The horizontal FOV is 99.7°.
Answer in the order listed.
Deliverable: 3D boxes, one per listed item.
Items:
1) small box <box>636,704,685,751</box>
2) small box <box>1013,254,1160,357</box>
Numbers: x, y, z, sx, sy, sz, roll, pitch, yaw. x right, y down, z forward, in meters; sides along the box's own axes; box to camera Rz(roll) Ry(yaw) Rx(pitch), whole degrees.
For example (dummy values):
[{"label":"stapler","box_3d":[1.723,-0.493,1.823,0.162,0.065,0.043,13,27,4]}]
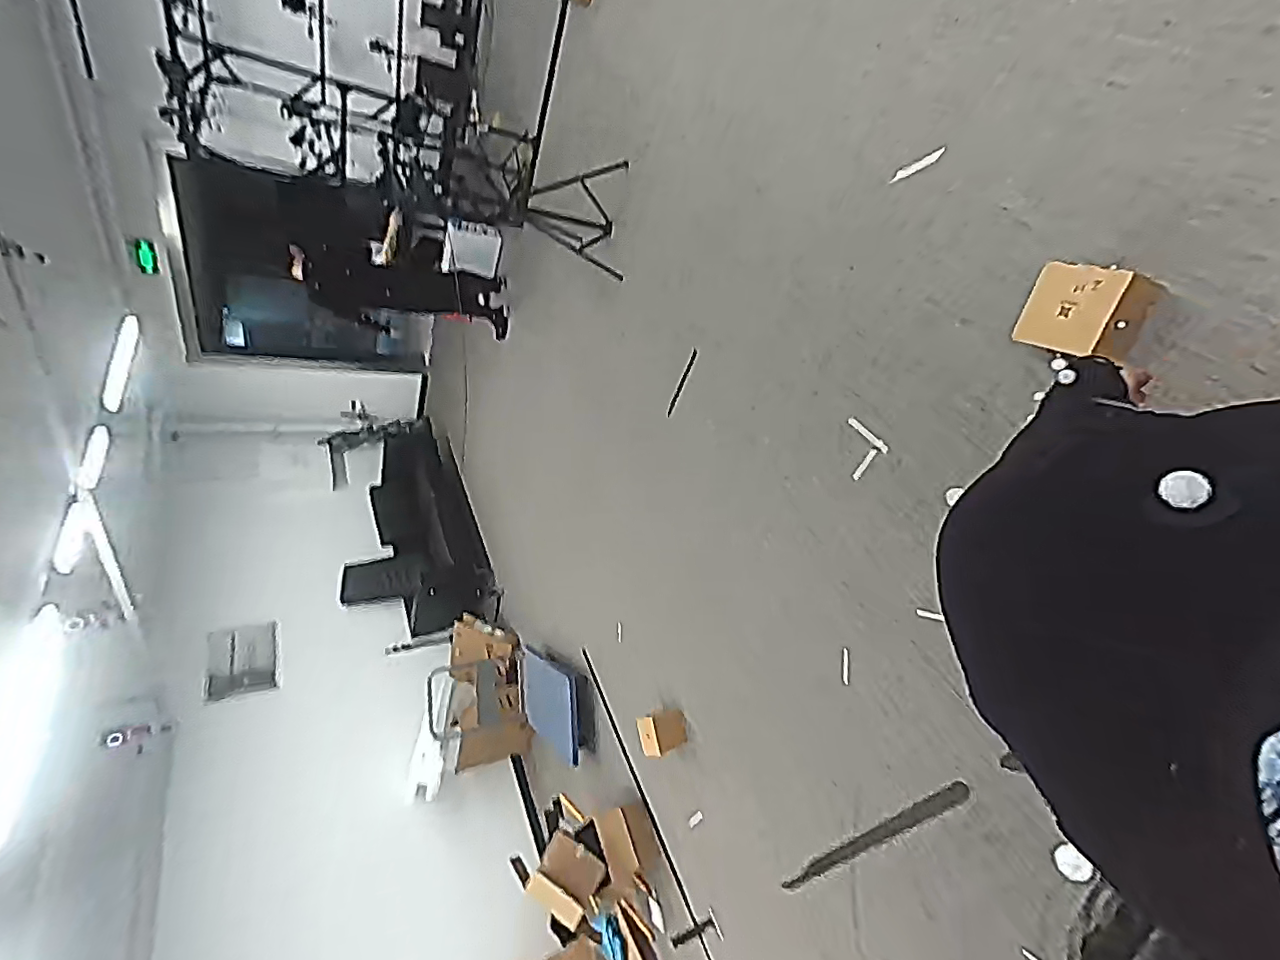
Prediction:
[{"label":"small box","box_3d":[0.107,1.239,2.710,0.168,0.176,0.179,-38,61,53]},{"label":"small box","box_3d":[0.974,-0.377,1.180,0.168,0.176,0.179,43,128,48]}]
